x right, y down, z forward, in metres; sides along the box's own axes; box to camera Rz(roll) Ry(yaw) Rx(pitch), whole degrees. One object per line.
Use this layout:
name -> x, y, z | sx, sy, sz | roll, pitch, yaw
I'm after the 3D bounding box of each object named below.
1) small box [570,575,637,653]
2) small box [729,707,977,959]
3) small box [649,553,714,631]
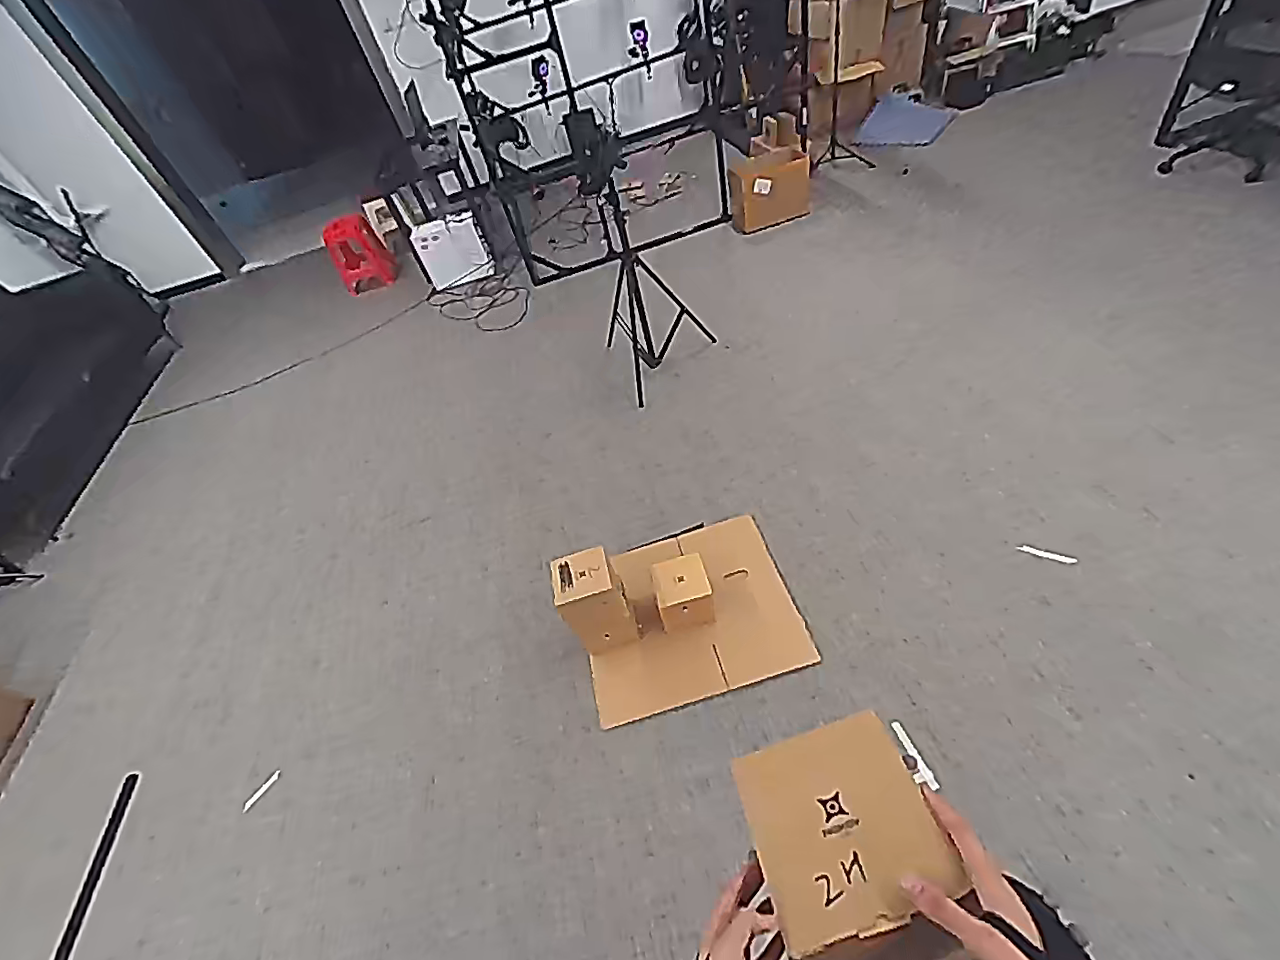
small box -> -0.115, 0.446, 1.789 | 0.179, 0.176, 0.168 | -19, 46, 1
small box -> 0.212, 0.378, 0.555 | 0.168, 0.176, 0.179 | -24, 31, 5
small box -> 0.141, 0.372, 1.784 | 0.179, 0.176, 0.168 | -17, 46, 1
